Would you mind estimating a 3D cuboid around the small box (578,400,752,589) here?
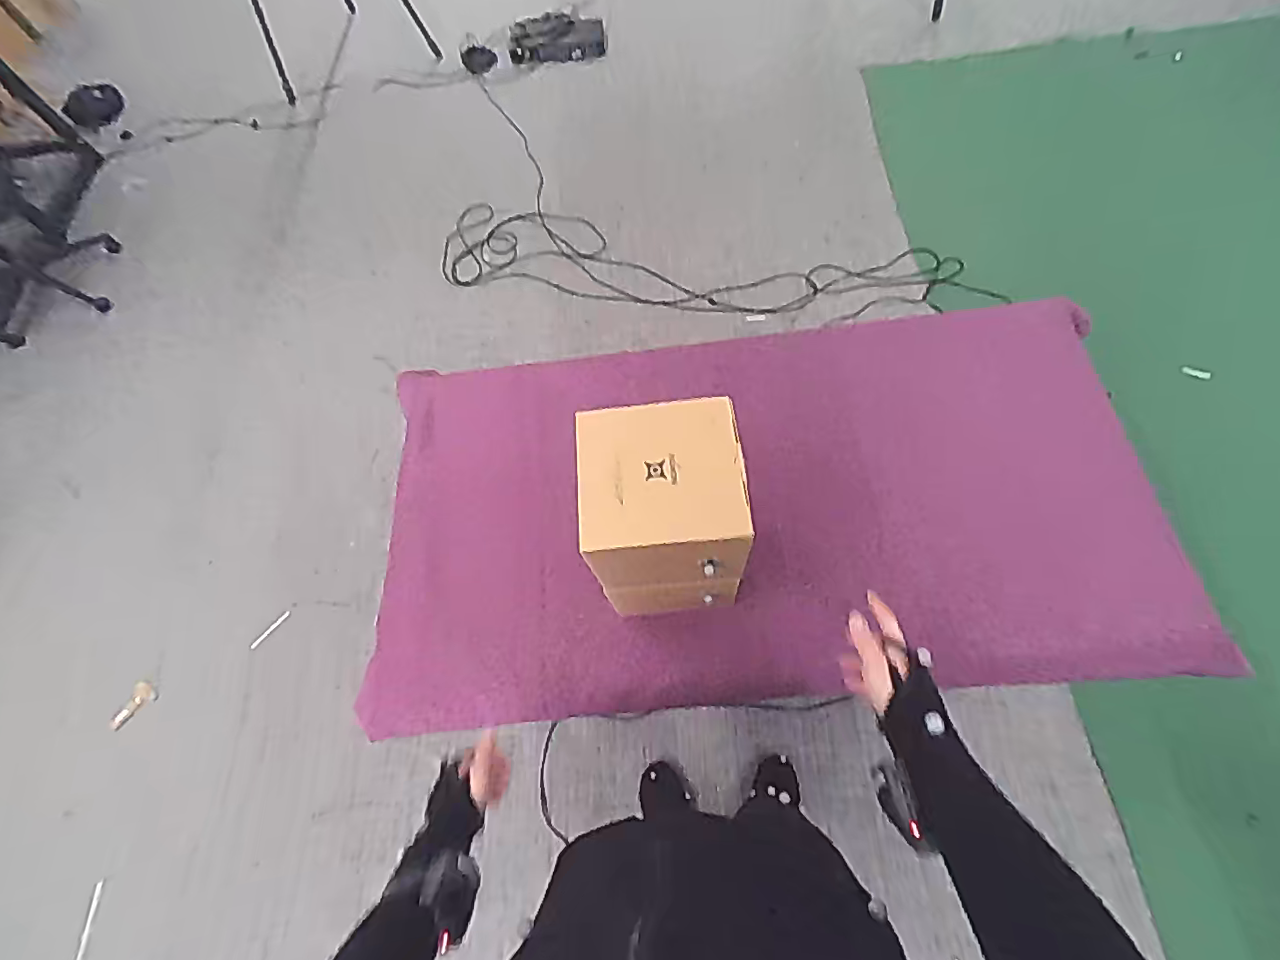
[{"bbox_3d":[0.028,0.026,0.640,0.179,0.176,0.168,-6,64,4],"label":"small box"}]
